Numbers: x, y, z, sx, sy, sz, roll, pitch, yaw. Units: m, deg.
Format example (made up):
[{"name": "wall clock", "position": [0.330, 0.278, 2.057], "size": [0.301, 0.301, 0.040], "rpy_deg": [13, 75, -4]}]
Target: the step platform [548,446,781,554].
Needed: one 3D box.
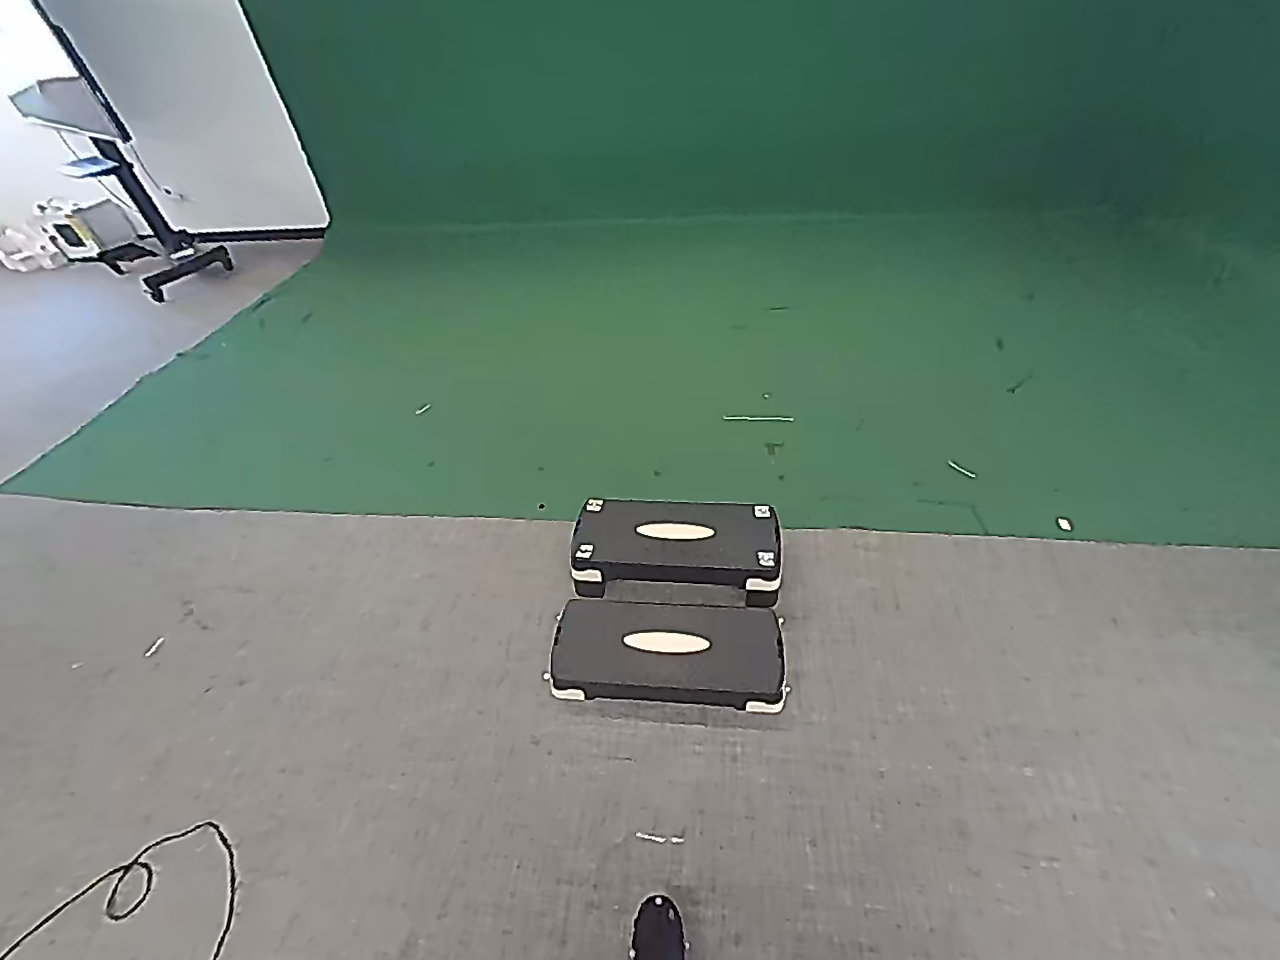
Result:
[{"name": "step platform", "position": [0.075, 0.061, 1.672], "size": [0.684, 0.204, 0.286], "rpy_deg": [1, 44, 7]}]
